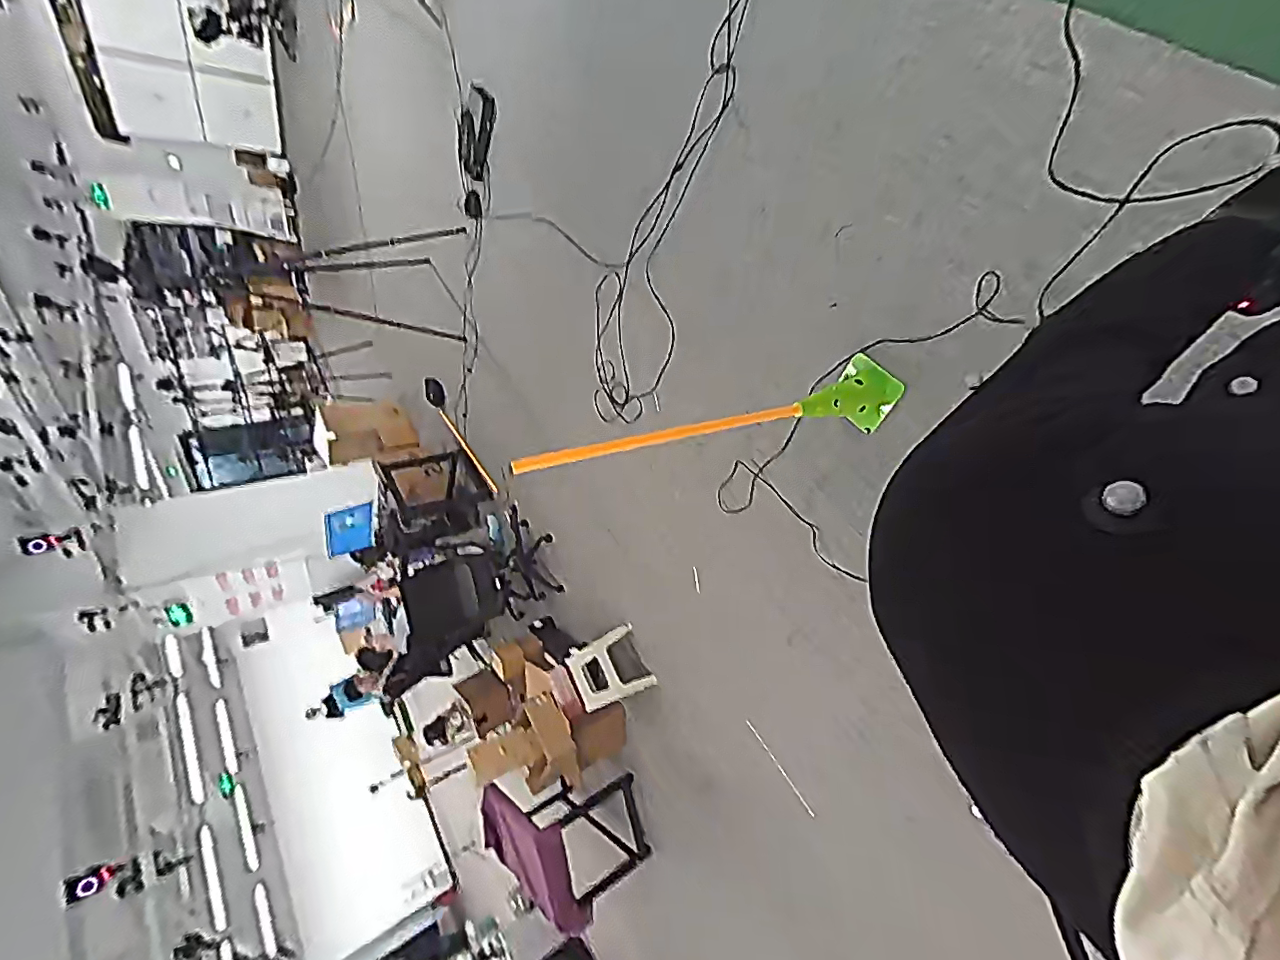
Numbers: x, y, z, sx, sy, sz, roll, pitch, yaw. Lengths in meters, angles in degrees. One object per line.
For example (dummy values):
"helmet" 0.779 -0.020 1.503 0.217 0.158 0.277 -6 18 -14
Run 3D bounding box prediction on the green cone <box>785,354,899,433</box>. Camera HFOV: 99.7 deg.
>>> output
"green cone" 0.578 -0.246 1.651 0.202 0.368 0.200 52 139 30
